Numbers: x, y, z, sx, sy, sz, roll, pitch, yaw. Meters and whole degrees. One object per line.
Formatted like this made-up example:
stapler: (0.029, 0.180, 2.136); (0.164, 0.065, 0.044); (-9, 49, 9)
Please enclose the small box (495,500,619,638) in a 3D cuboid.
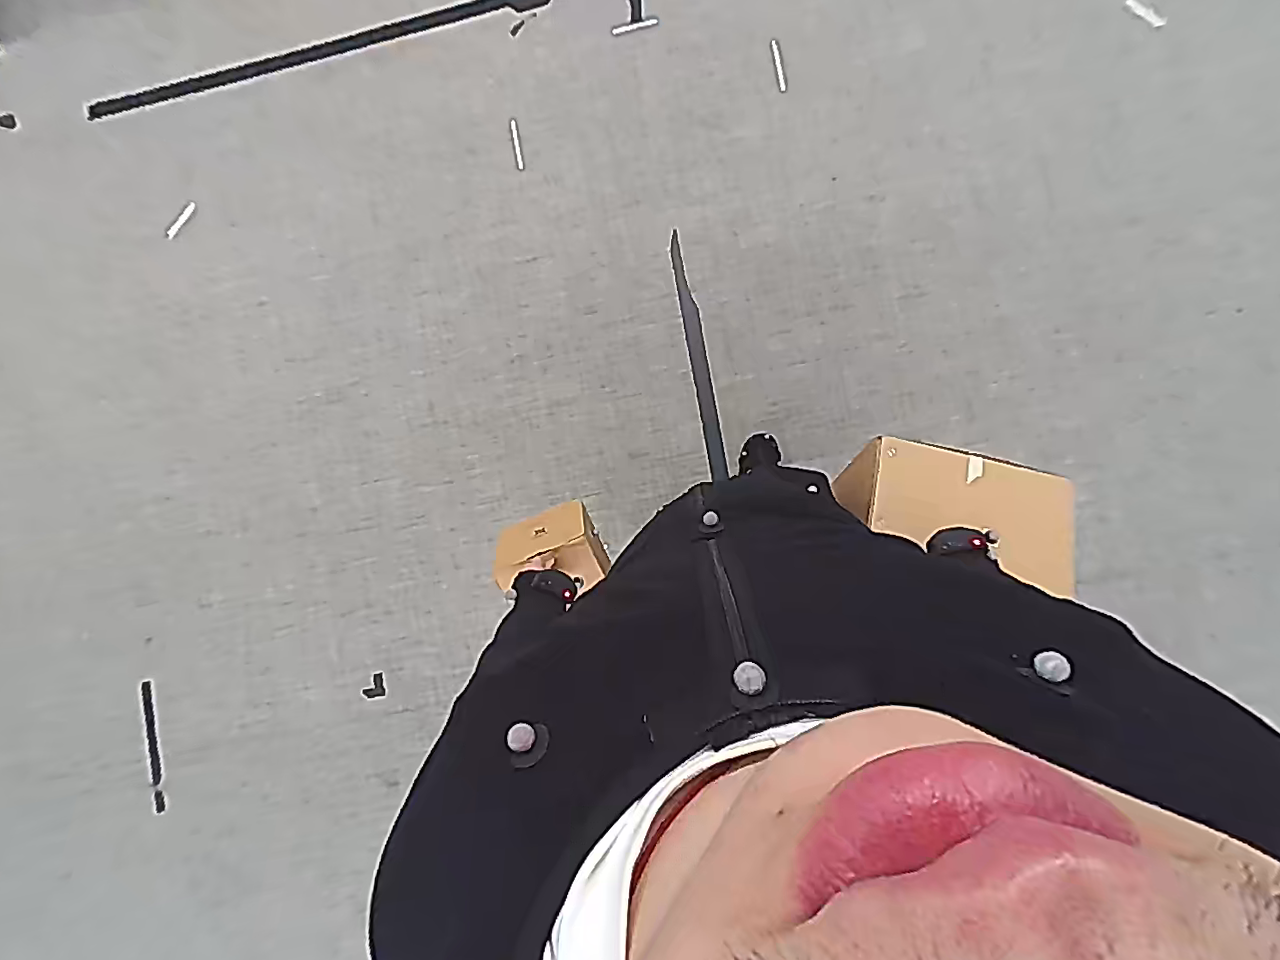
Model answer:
small box: (-0.146, 0.167, 0.994); (0.168, 0.179, 0.176); (-22, 110, 0)
